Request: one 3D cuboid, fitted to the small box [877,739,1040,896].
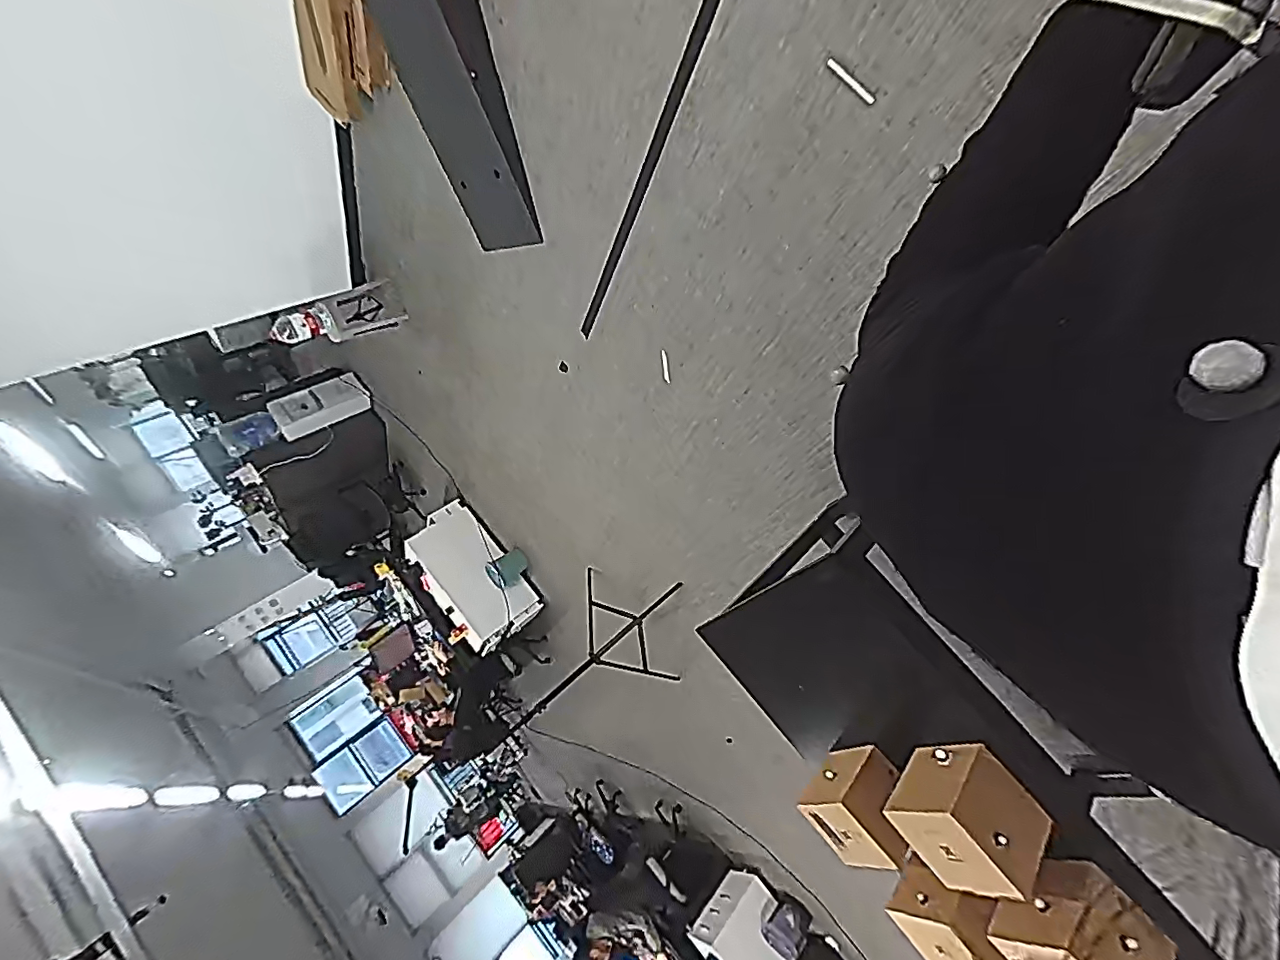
[{"bbox_3d":[0.594,0.618,1.008,0.179,0.176,0.168,49,145,10],"label":"small box"}]

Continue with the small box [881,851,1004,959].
[{"bbox_3d":[0.676,0.939,1.179,0.168,0.176,0.179,50,145,8],"label":"small box"}]

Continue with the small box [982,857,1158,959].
[{"bbox_3d":[0.762,0.806,0.958,0.168,0.176,0.179,46,145,14],"label":"small box"}]
